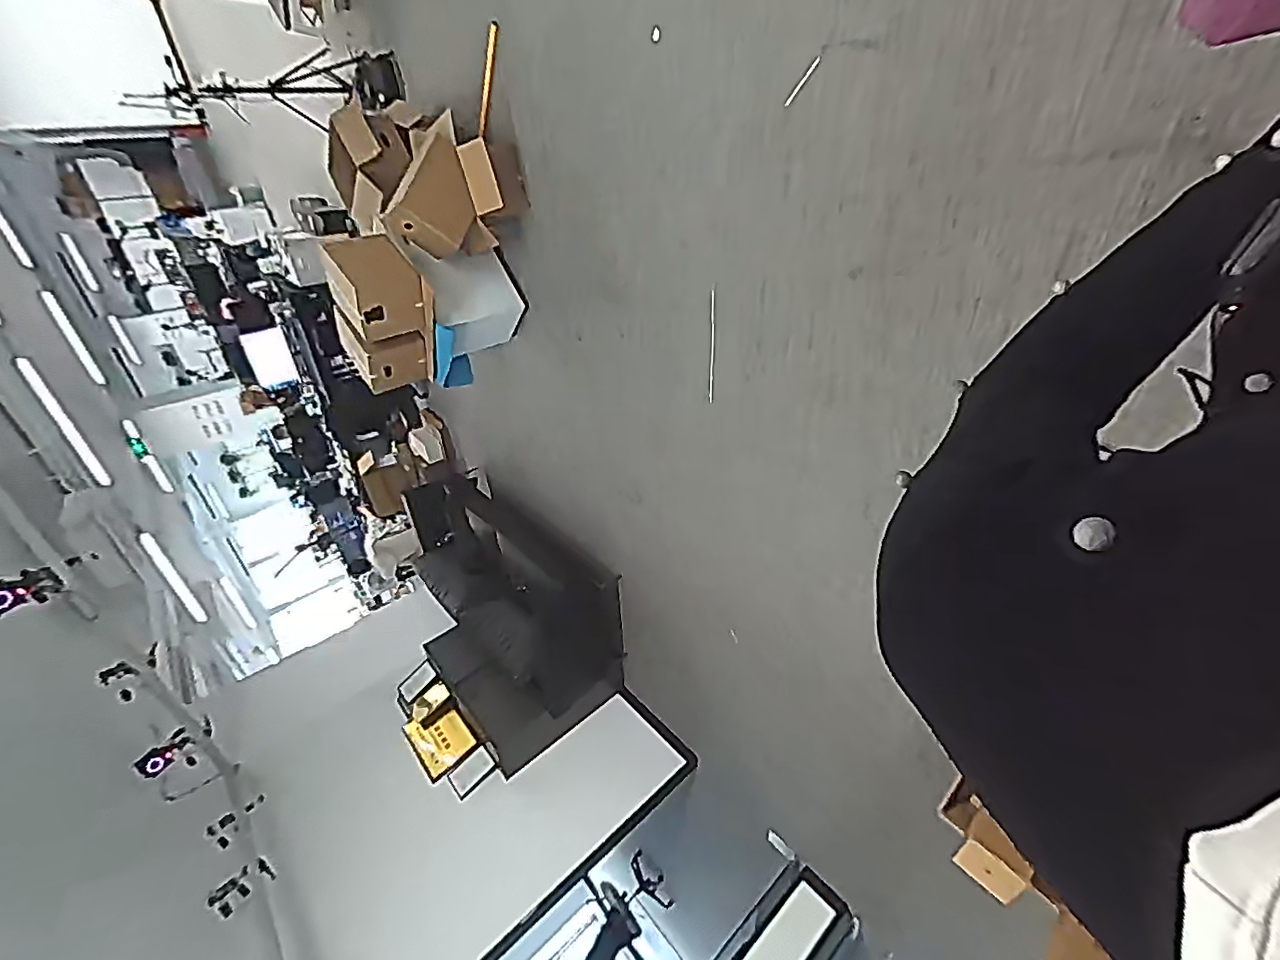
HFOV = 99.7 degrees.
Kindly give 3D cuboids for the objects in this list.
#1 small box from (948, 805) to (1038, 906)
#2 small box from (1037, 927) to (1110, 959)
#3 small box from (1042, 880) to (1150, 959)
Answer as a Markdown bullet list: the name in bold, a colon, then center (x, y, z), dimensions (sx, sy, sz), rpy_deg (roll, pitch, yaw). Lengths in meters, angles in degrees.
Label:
- **small box**: center (1.126, 1.191, 1.722), dimensions (0.168, 0.176, 0.179), rpy_deg (33, 136, 37)
- **small box**: center (1.186, 1.368, 1.460), dimensions (0.168, 0.176, 0.179), rpy_deg (32, 137, 39)
- **small box**: center (1.309, 1.309, 1.550), dimensions (0.168, 0.176, 0.179), rpy_deg (34, 137, 38)
